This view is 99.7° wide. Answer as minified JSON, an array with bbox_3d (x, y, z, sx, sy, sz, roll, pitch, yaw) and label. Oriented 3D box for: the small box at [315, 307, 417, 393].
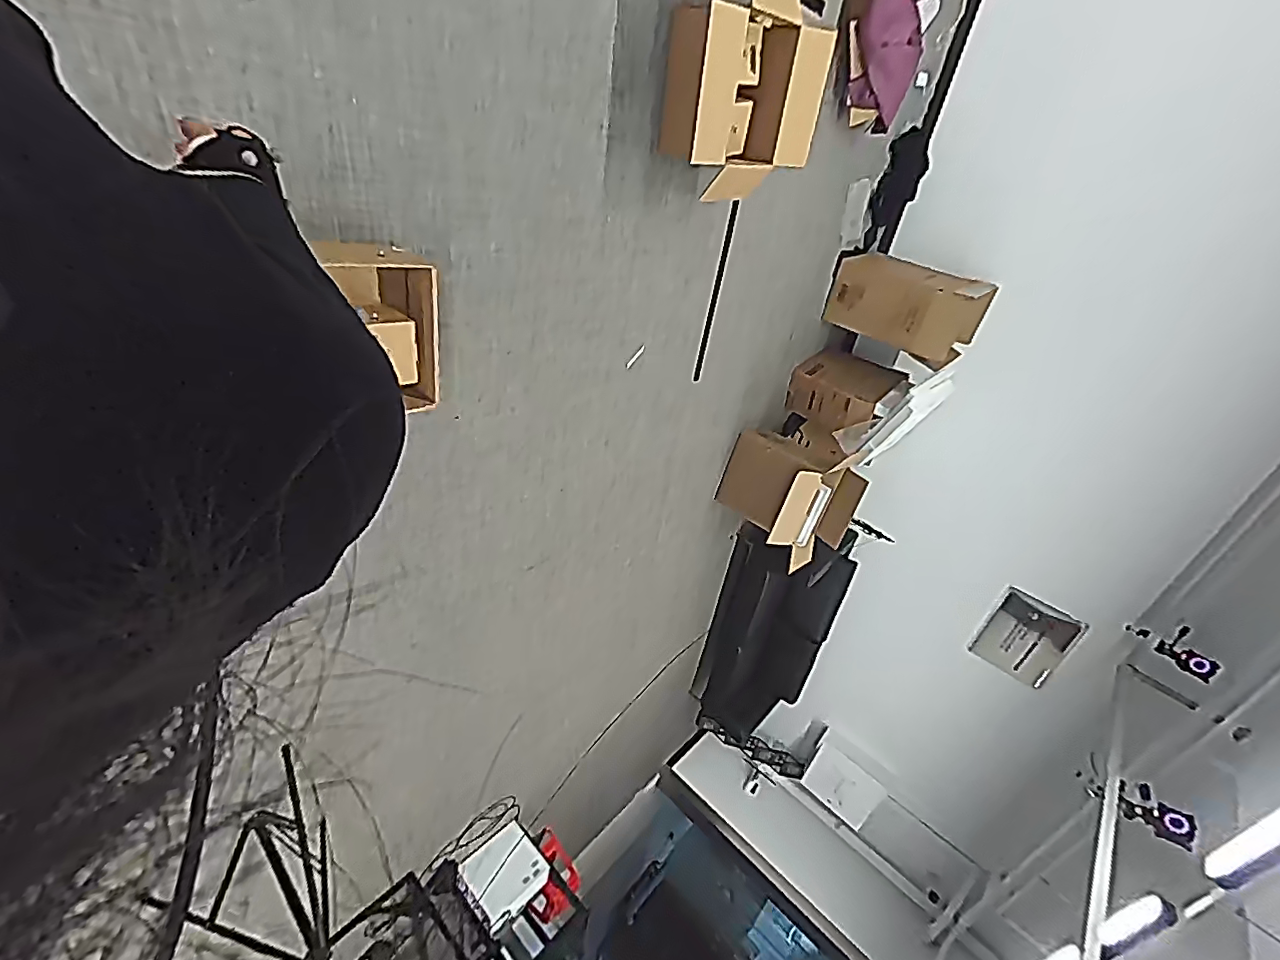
[{"bbox_3d":[-0.695,-0.338,1.378,0.179,0.176,0.168,-21,131,-43],"label":"small box"}]
